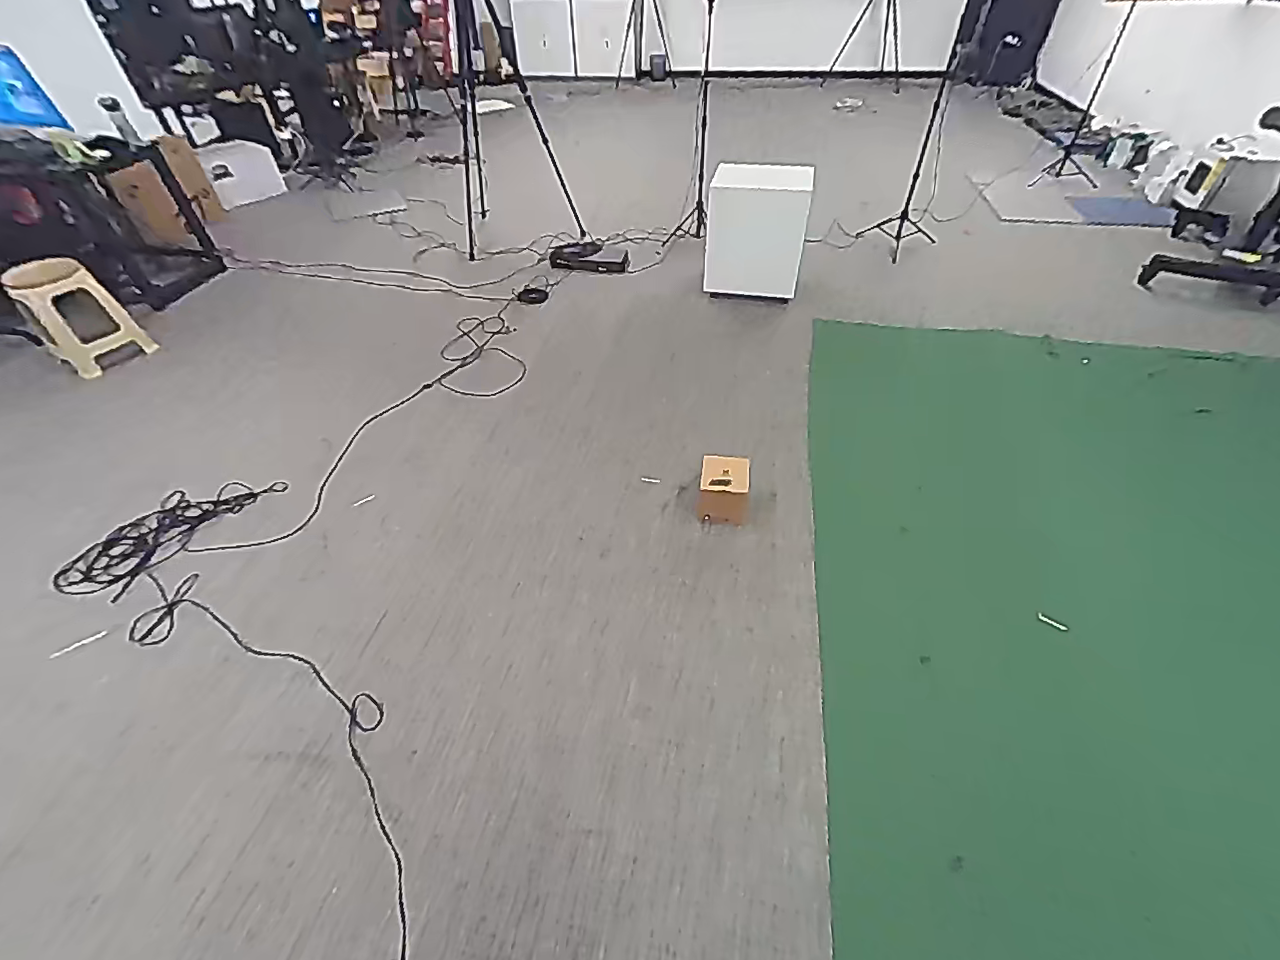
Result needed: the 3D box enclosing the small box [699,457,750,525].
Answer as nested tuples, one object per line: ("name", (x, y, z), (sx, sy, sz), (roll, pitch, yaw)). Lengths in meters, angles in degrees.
("small box", (0.301, 0.041, 1.937), (0.168, 0.176, 0.179), (6, 45, 8))
